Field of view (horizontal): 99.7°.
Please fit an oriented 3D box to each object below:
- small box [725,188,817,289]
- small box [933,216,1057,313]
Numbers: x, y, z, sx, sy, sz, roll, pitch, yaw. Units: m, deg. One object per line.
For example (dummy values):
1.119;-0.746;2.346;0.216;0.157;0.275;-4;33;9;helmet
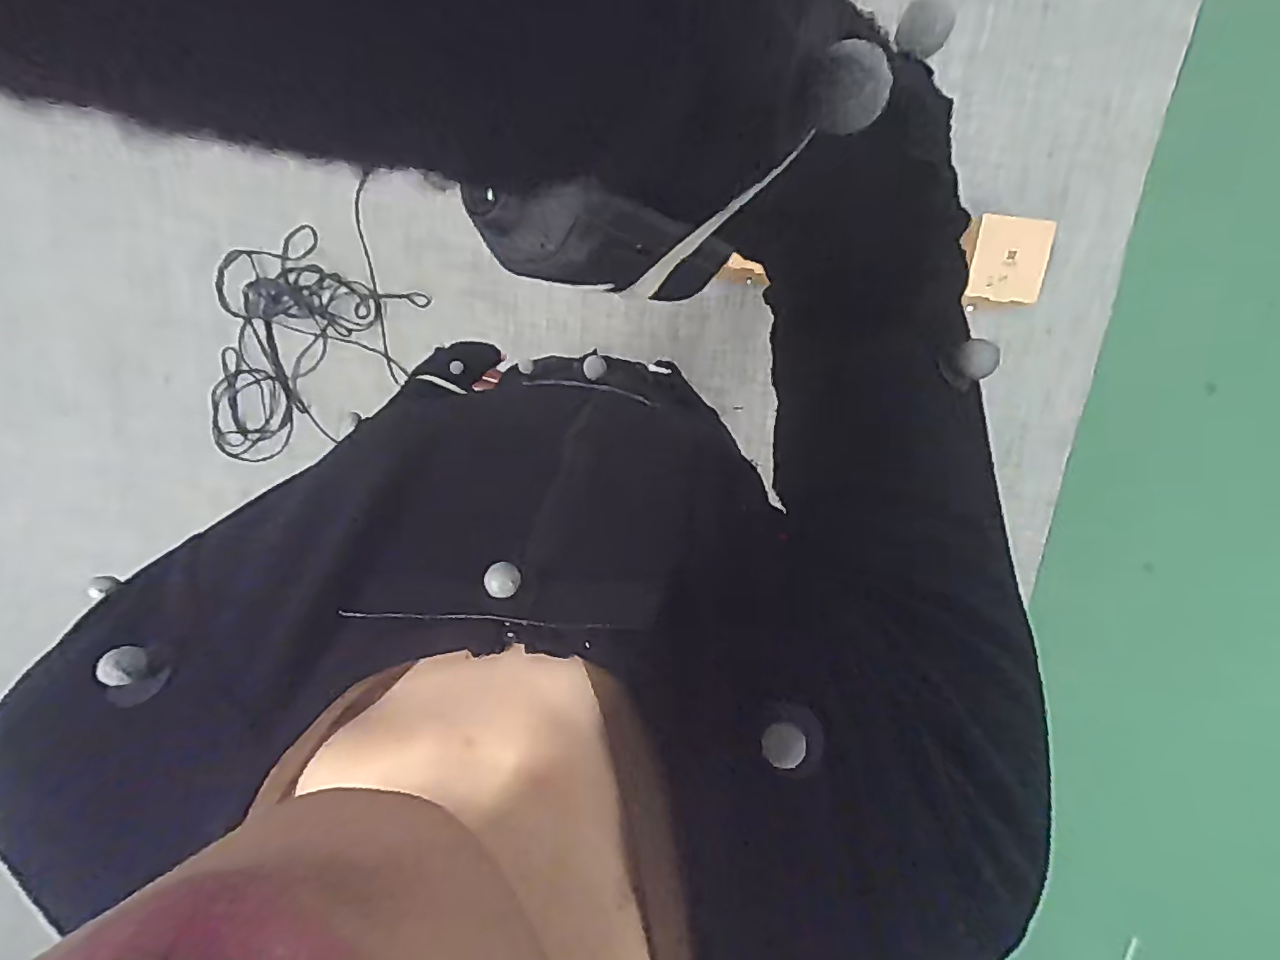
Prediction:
0.301;-0.565;1.283;0.168;0.176;0.179;8;103;1;small box
0.827;-0.502;1.280;0.168;0.176;0.179;7;103;1;small box
